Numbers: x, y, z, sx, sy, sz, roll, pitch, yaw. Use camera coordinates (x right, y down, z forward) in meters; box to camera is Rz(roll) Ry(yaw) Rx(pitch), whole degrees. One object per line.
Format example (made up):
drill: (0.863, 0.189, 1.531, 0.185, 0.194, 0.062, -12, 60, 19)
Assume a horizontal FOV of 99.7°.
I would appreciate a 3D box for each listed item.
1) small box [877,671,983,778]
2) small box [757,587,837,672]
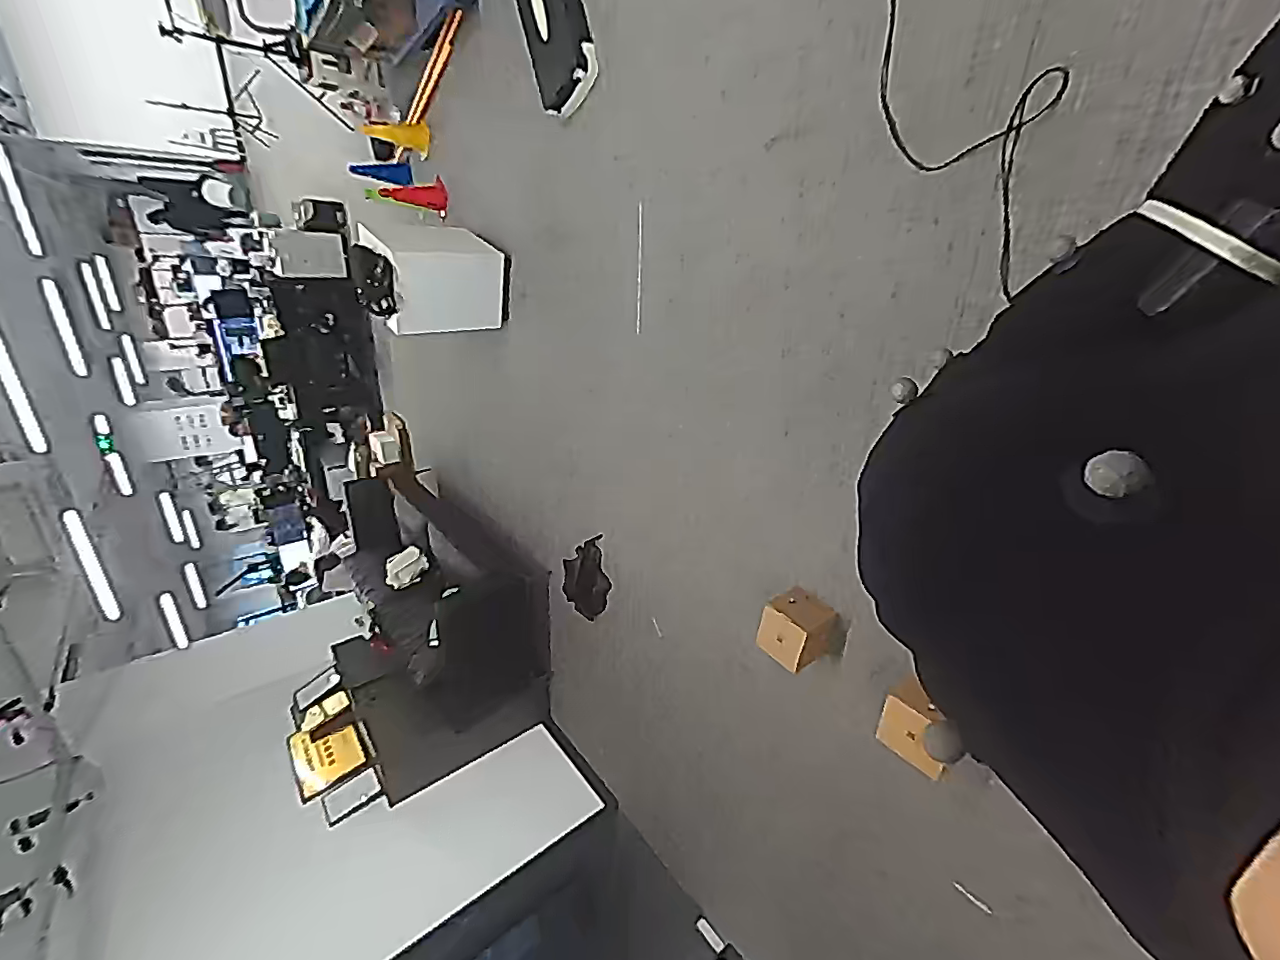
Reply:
small box: (0.775, 0.640, 1.448, 0.179, 0.176, 0.168, 28, 124, 44)
small box: (0.506, 0.473, 1.741, 0.168, 0.176, 0.179, 34, 129, 43)
